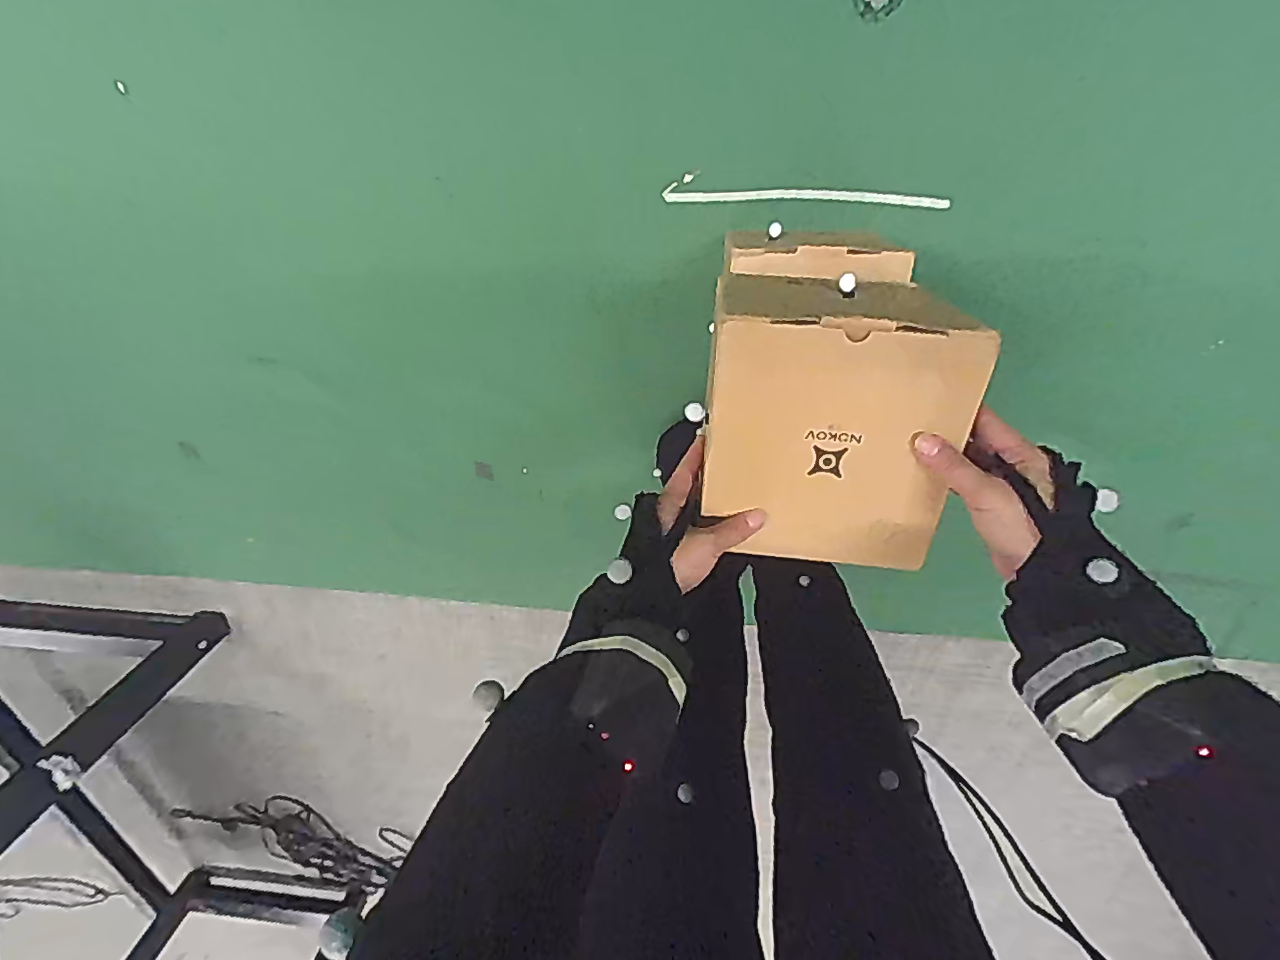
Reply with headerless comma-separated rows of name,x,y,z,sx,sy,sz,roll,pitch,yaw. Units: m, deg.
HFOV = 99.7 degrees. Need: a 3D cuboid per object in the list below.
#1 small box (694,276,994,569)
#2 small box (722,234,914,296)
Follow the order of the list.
small box,0.137,-0.056,0.434,0.168,0.176,0.179,5,119,6
small box,0.174,-0.172,0.601,0.168,0.176,0.179,3,121,6
